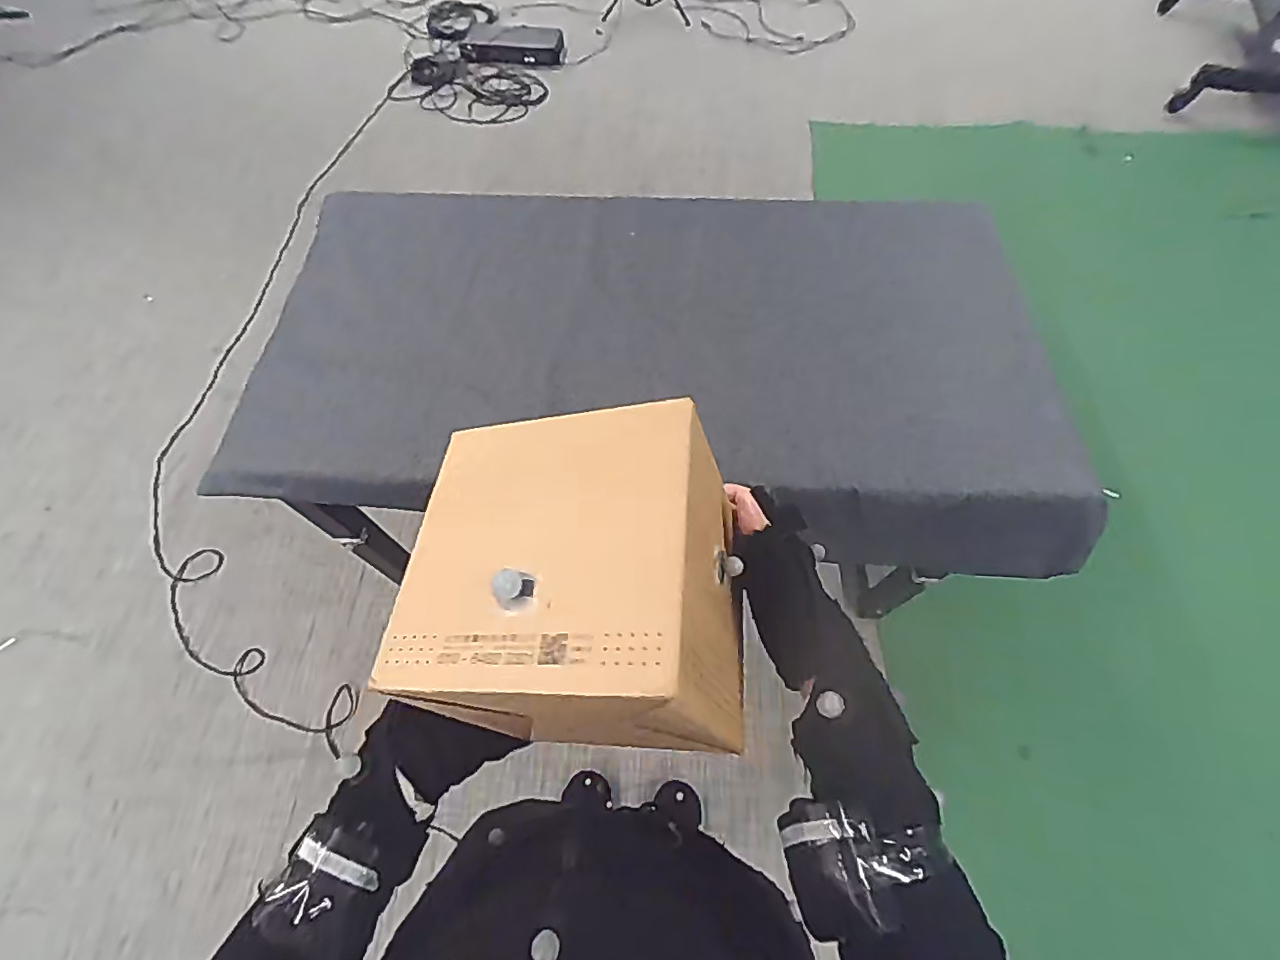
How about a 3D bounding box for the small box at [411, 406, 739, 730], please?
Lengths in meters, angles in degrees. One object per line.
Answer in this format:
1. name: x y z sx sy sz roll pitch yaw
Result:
1. small box: -0.026 0.076 0.378 0.168 0.179 0.176 -6 57 17
